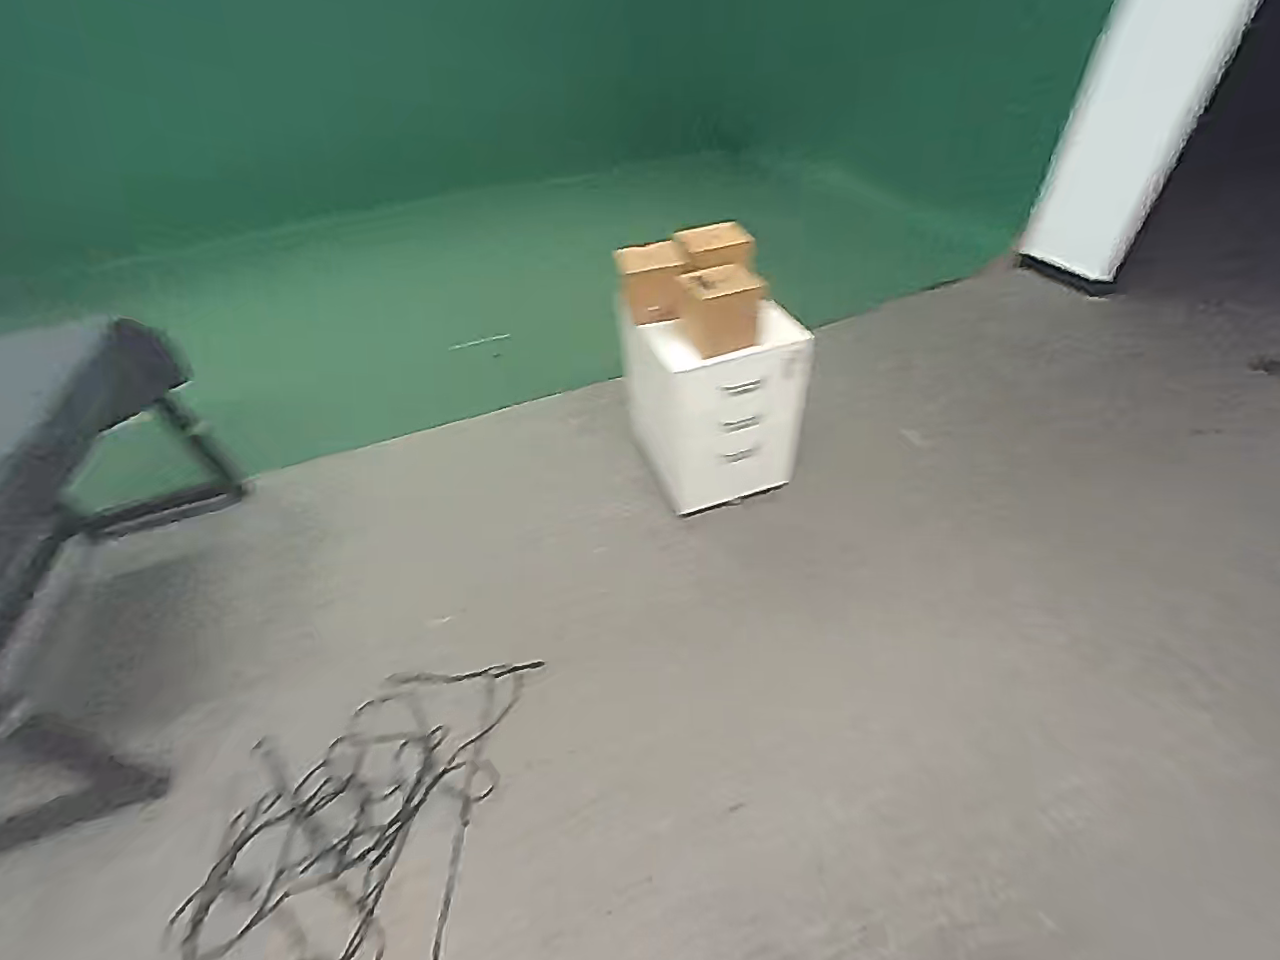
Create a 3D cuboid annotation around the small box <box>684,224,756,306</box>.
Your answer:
[{"bbox_3d":[0.241,-0.660,1.661,0.179,0.176,0.168,-15,46,-6],"label":"small box"}]
